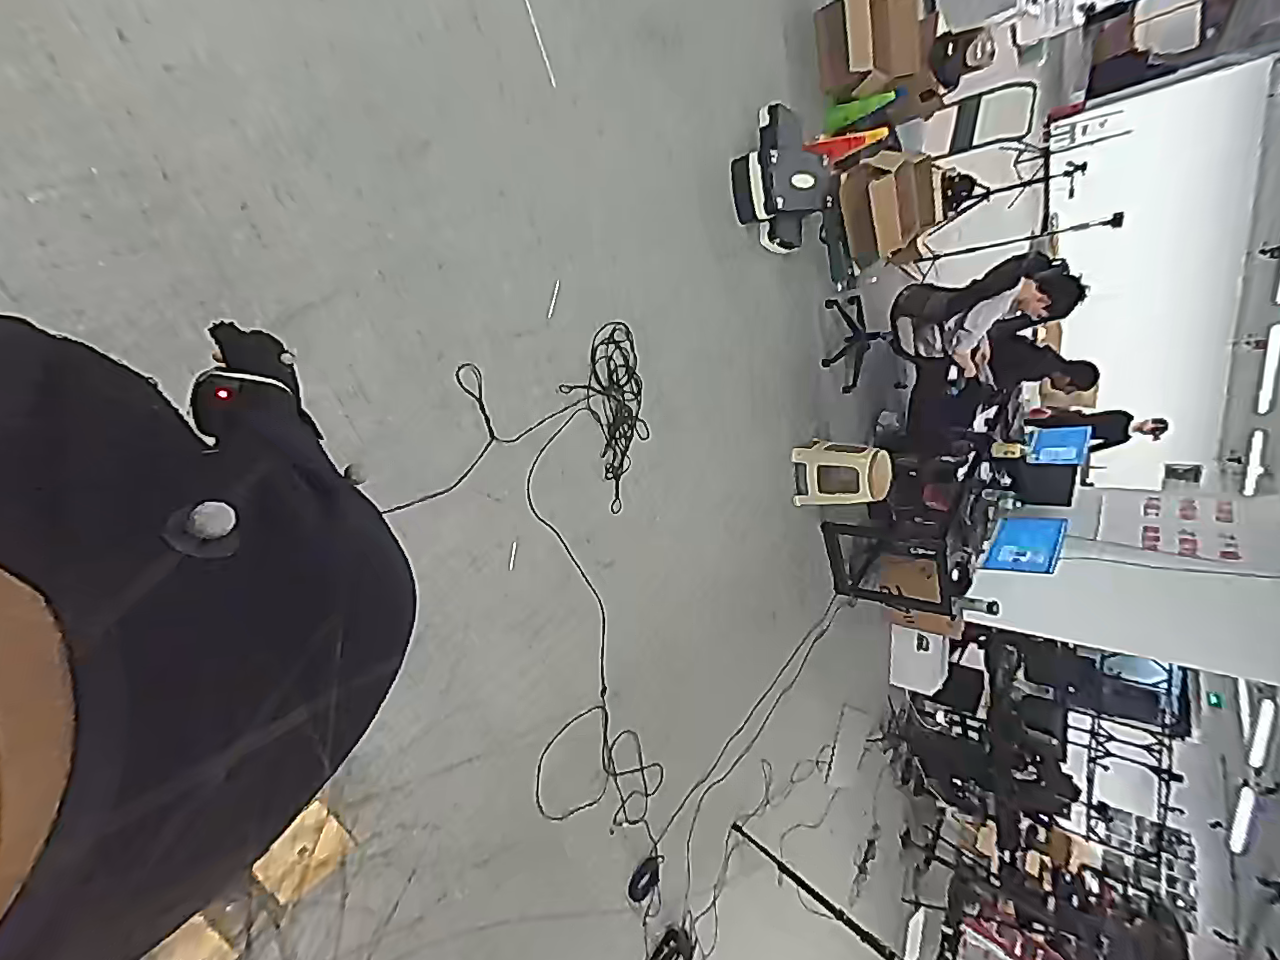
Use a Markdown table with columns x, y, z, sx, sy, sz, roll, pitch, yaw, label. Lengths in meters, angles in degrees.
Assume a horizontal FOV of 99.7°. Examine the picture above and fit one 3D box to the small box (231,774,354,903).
| x | y | z | sx | sy | sz | roll | pitch | yaw | label |
| --- | --- | --- | --- | --- | --- | --- | --- | --- | --- |
| -0.829 | 0.837 | 1.287 | 0.168 | 0.176 | 0.179 | -39 | 121 | -39 | small box |
